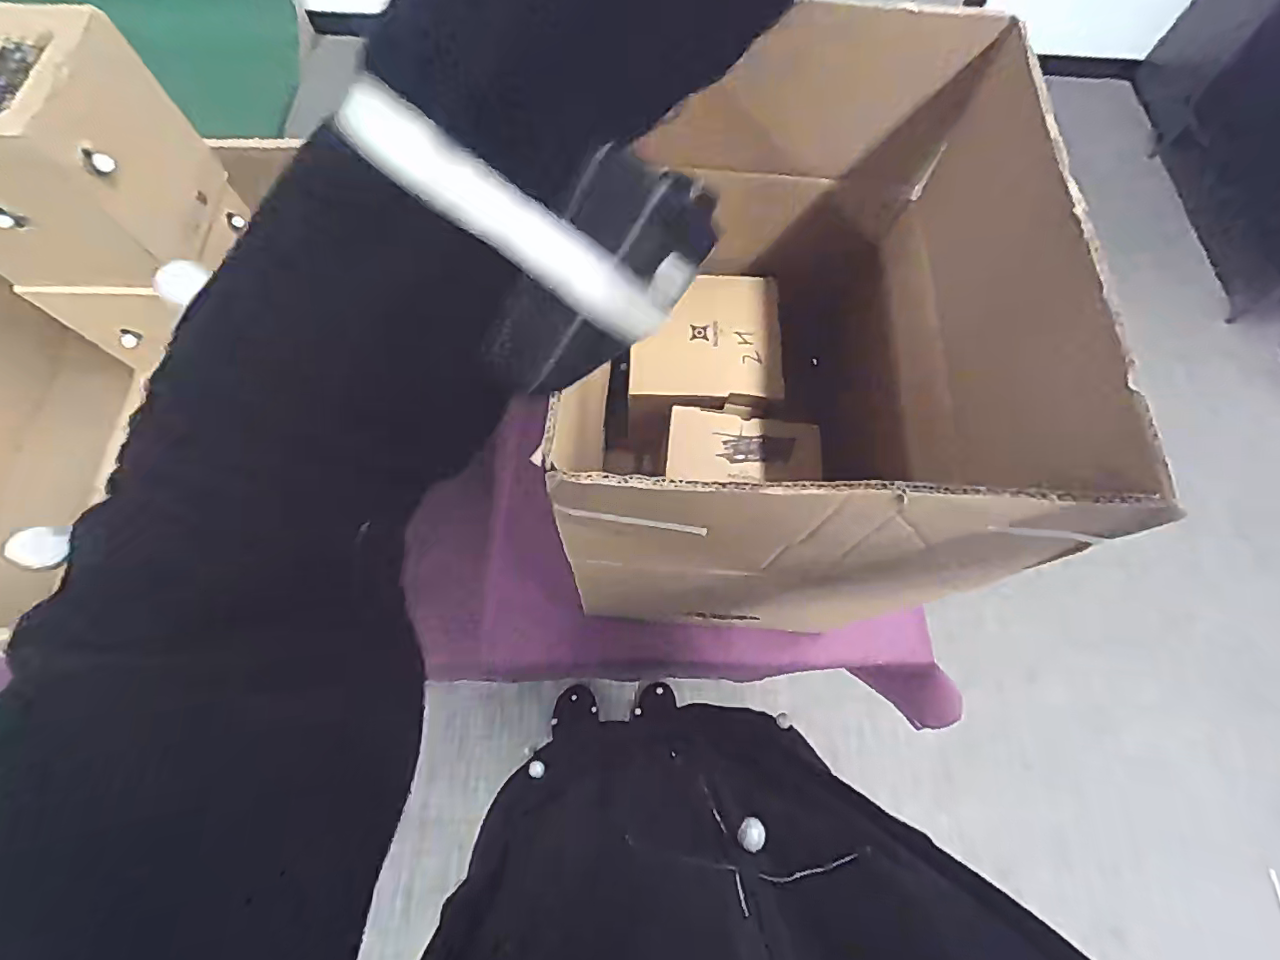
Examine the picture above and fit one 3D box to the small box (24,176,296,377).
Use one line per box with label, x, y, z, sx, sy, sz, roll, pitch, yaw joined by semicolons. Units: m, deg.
small box;-0.567;-0.242;0.672;0.168;0.176;0.179;1;69;-1
